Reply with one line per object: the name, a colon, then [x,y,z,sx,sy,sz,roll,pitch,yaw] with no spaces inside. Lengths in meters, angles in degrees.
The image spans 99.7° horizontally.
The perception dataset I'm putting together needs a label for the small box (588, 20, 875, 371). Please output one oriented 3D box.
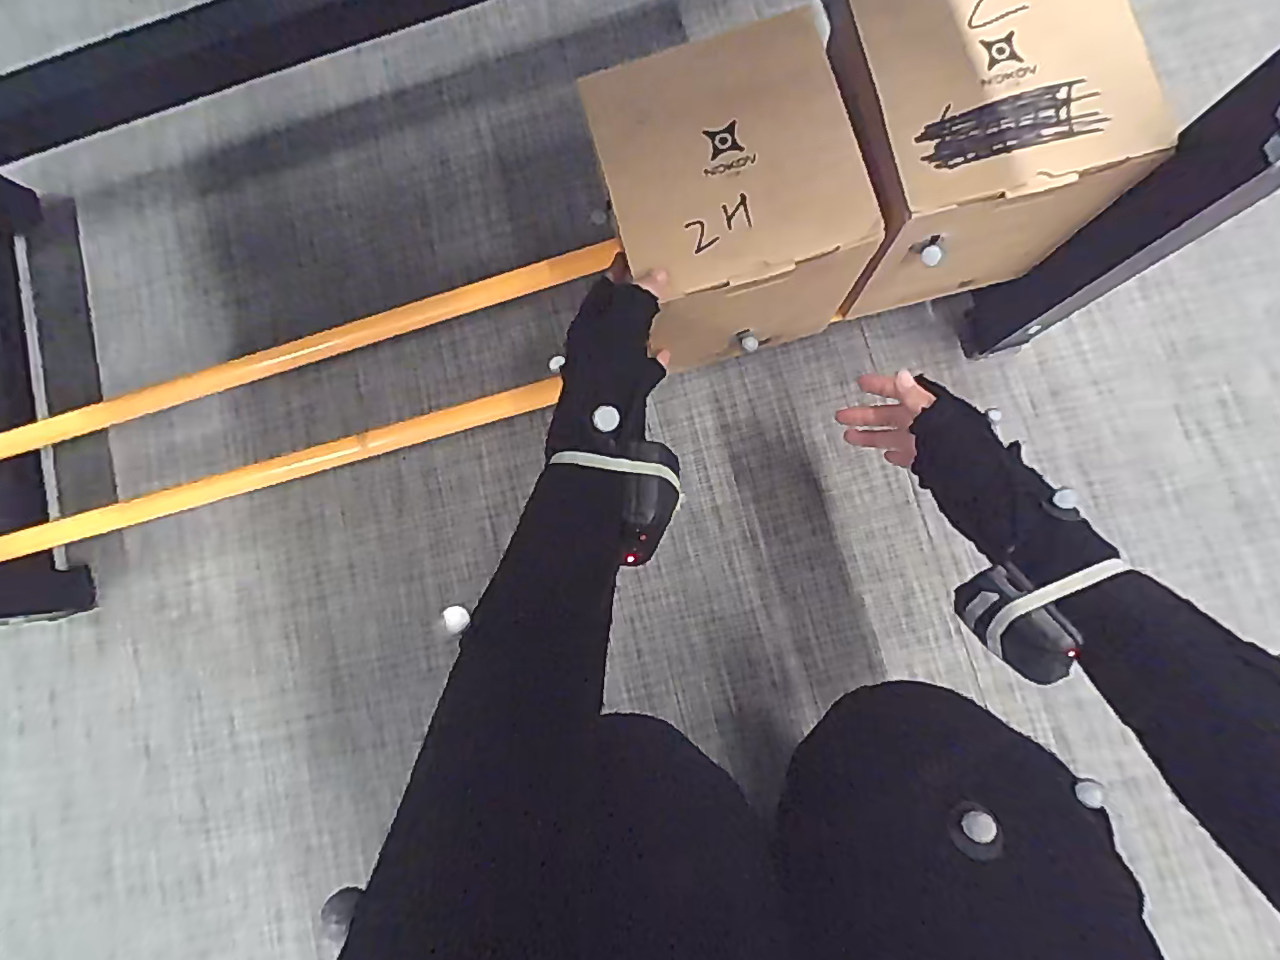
small box: [0.065,-0.213,0.452,0.168,0.176,0.179,-15,84,4]
